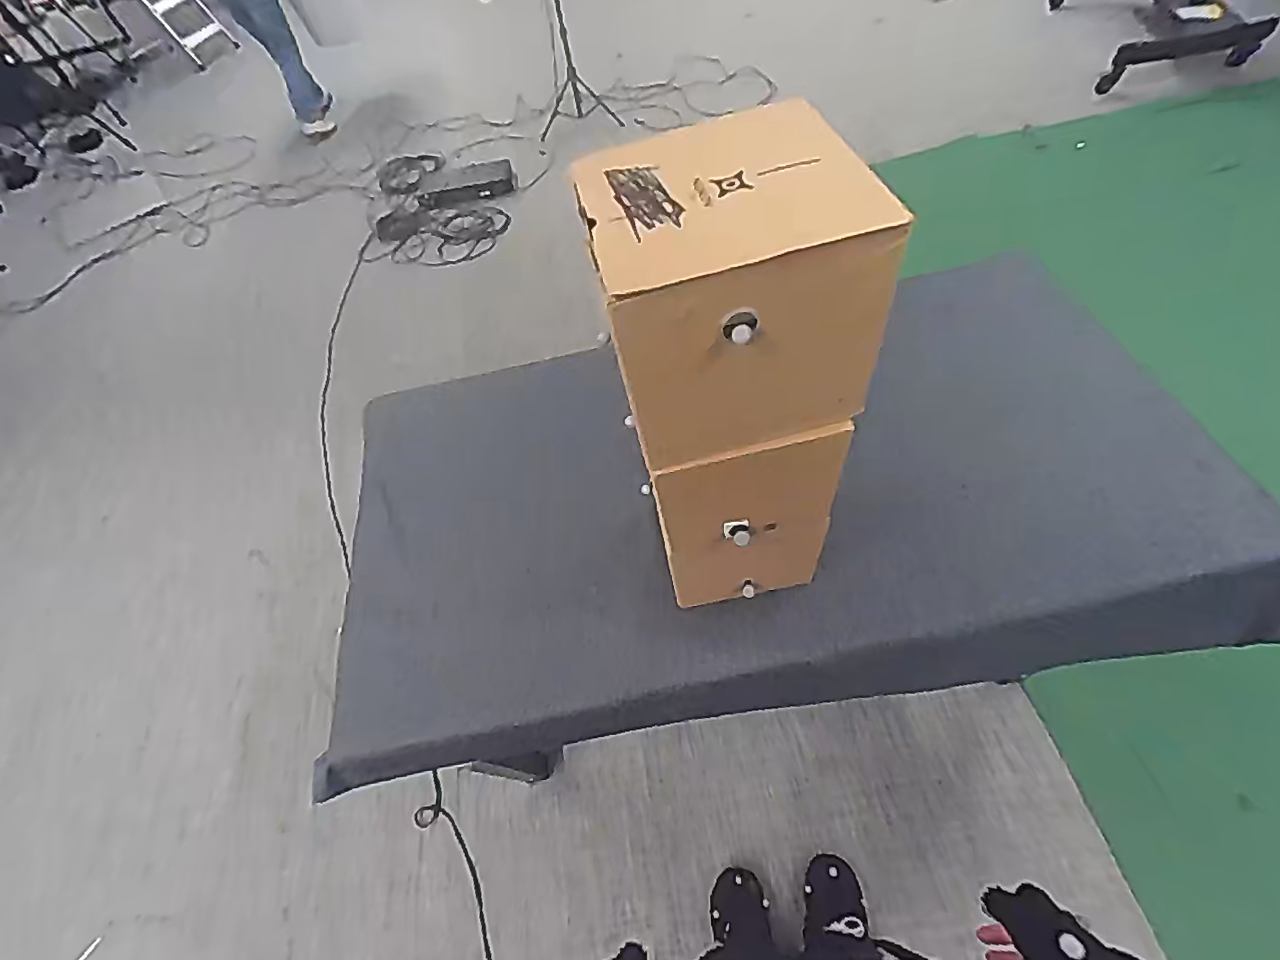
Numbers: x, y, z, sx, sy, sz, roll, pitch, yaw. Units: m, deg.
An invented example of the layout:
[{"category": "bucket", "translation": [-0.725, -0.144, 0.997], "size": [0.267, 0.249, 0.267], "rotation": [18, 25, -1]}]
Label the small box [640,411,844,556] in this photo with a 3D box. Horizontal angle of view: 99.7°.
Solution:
[{"category": "small box", "translation": [0.082, -0.048, 0.541], "size": [0.168, 0.176, 0.179], "rotation": [-13, 57, 3]}]

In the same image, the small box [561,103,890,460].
[{"category": "small box", "translation": [0.054, -0.137, 0.406], "size": [0.179, 0.176, 0.168], "rotation": [-14, 56, 2]}]

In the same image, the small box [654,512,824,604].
[{"category": "small box", "translation": [0.108, 0.038, 0.677], "size": [0.179, 0.176, 0.168], "rotation": [-12, 56, 2]}]
